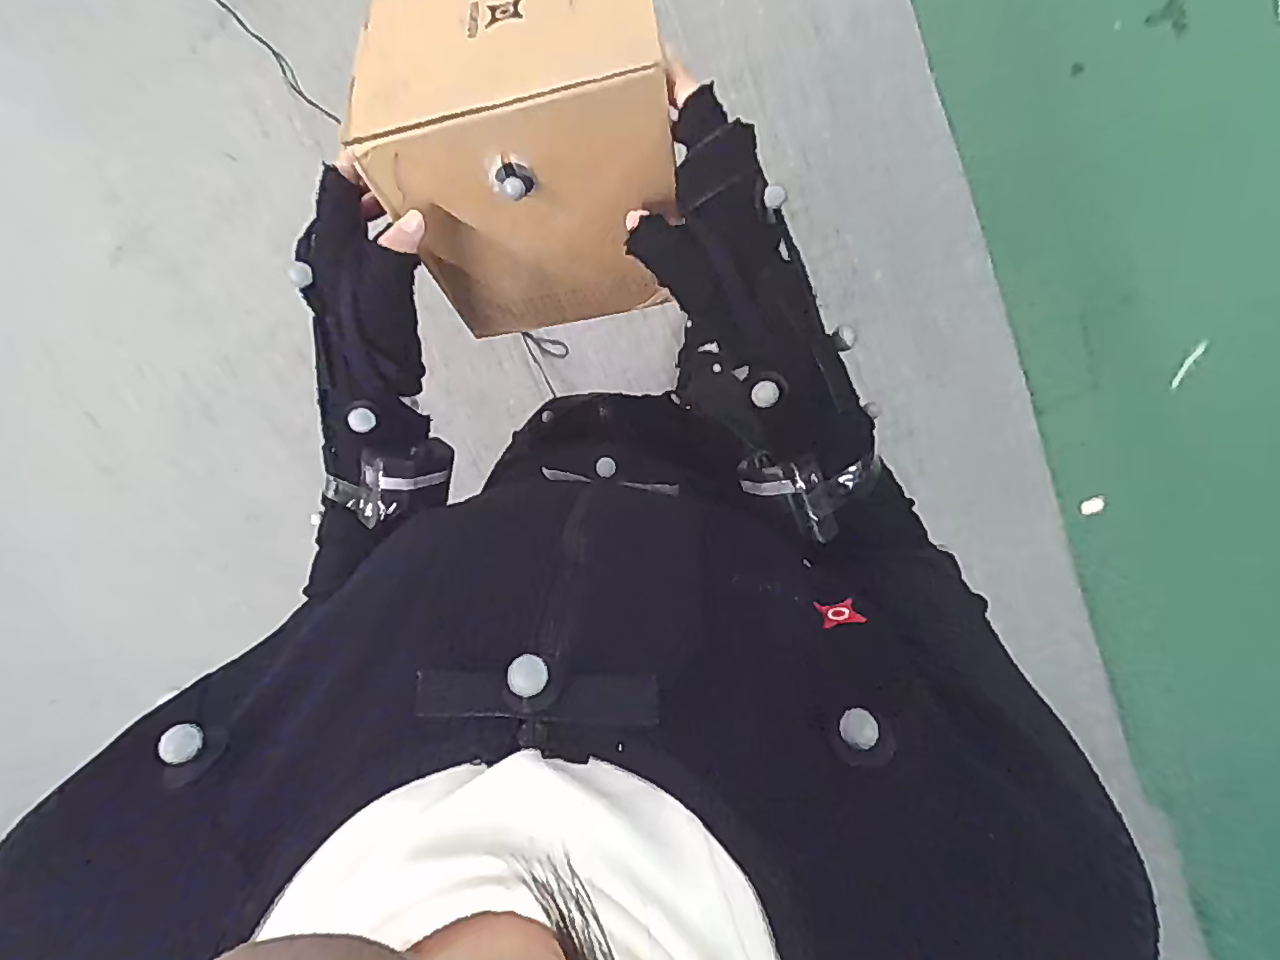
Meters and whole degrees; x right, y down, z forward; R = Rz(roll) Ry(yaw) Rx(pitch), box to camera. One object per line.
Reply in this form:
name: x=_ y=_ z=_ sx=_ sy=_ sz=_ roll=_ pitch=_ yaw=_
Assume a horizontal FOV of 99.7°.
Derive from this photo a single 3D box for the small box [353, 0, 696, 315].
small box: x=-0.062 y=-0.241 z=0.383 sx=0.179 sy=0.176 sz=0.168 roll=-8 pitch=66 yaw=7
